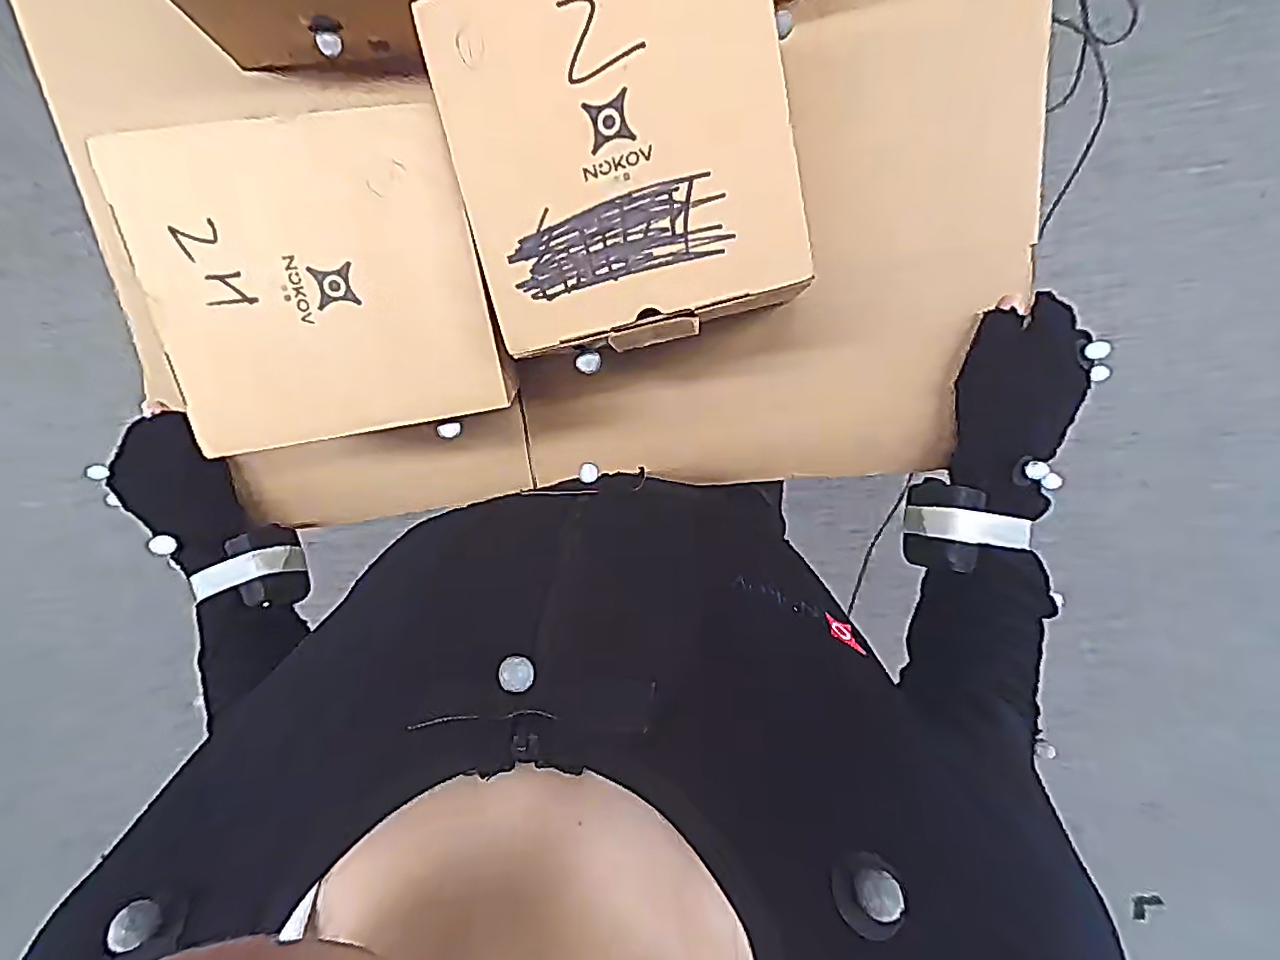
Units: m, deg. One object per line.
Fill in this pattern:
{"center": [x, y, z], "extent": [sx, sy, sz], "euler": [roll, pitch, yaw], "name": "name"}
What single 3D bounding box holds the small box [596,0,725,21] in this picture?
{"center": [0.029, -0.385, 0.280], "extent": [0.168, 0.176, 0.179], "euler": [-3, 104, 13], "name": "small box"}
